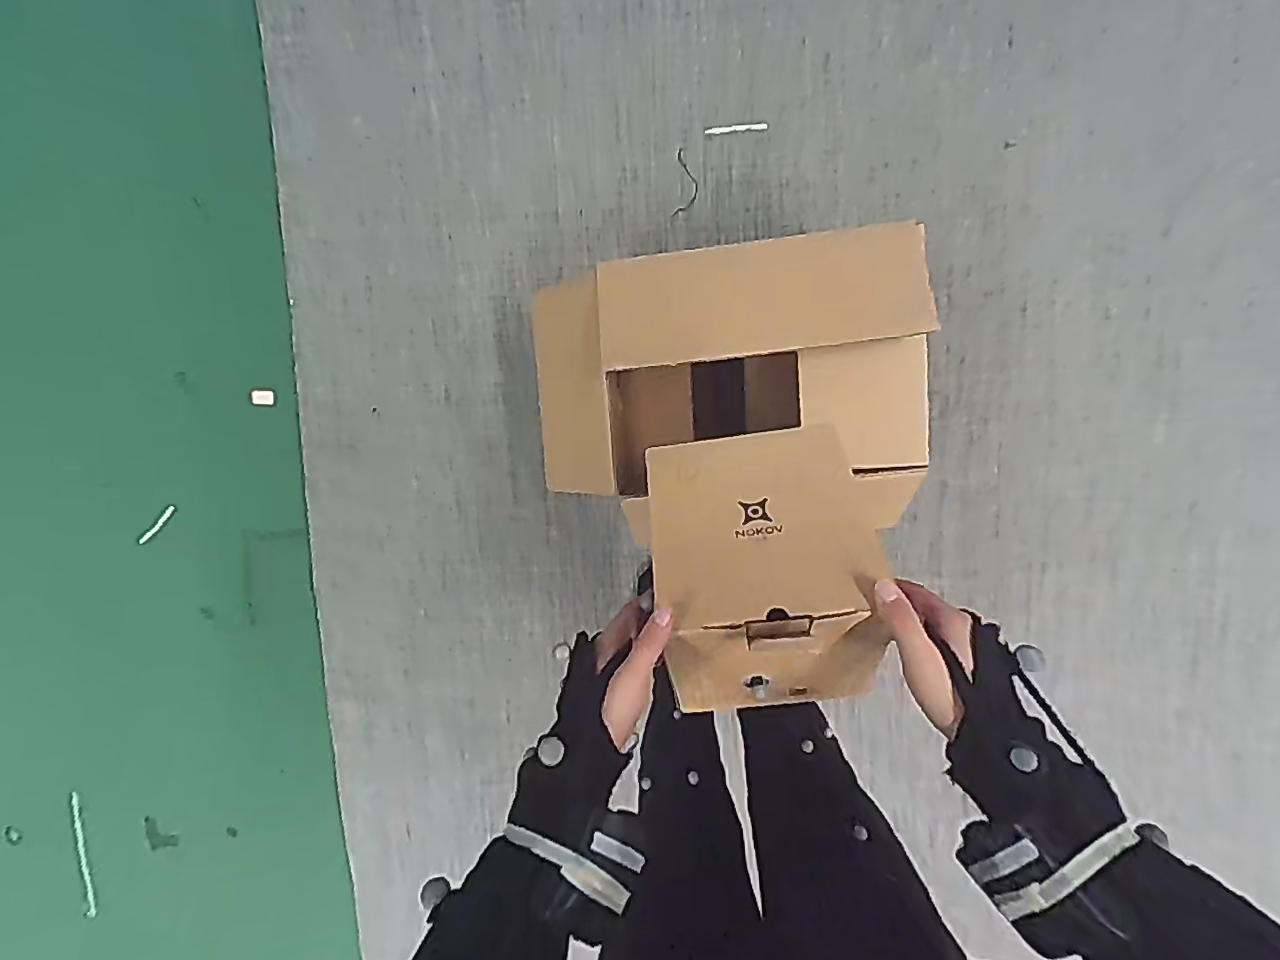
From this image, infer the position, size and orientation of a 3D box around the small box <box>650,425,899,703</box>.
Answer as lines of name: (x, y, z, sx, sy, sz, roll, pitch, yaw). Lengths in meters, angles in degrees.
small box: (0.100, 0.077, 0.480, 0.168, 0.179, 0.176, -7, 139, 5)
